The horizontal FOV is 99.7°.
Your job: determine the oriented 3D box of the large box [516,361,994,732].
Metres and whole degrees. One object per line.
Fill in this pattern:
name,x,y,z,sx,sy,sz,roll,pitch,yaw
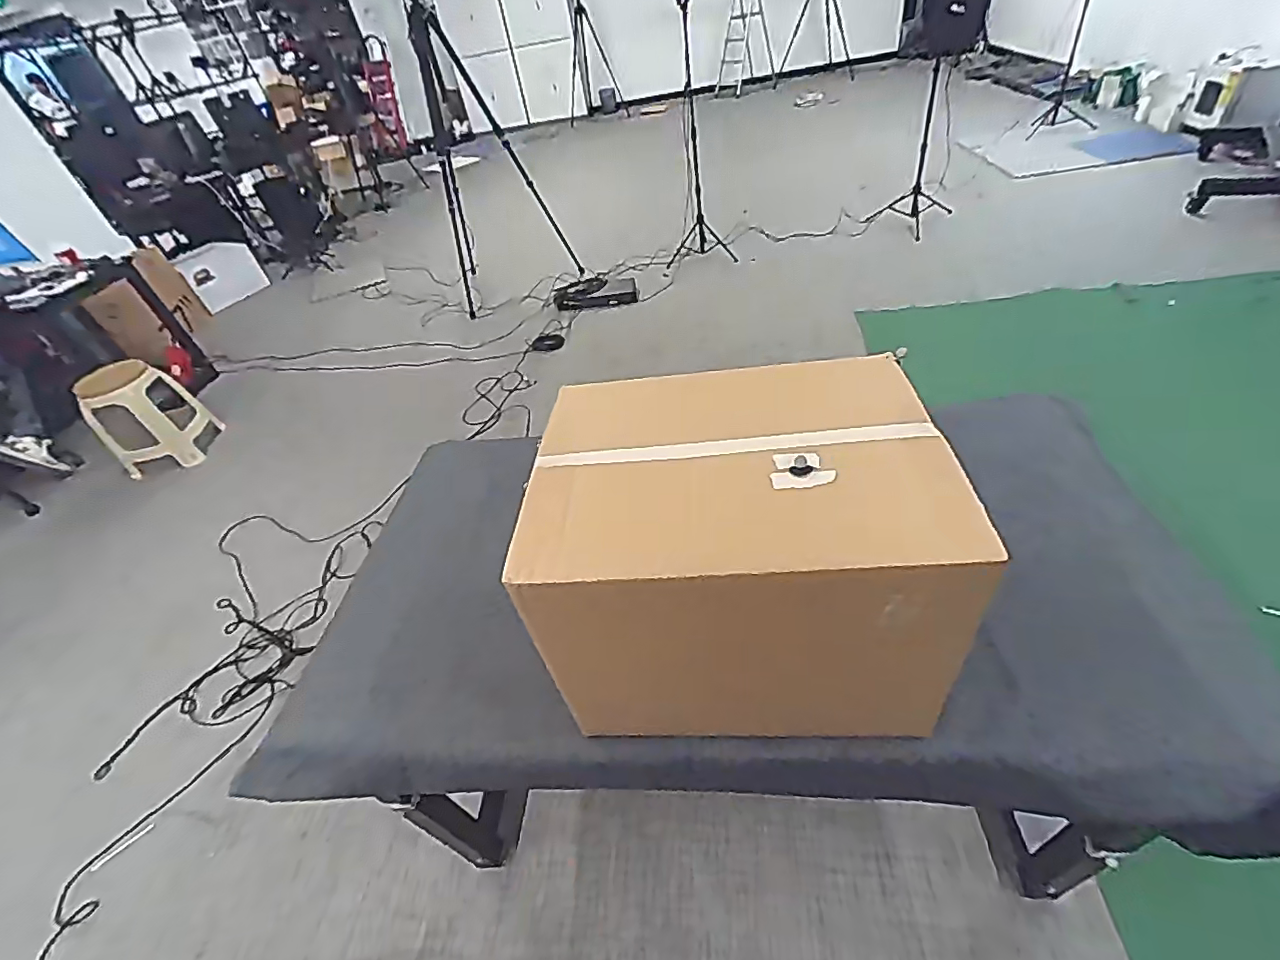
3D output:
large box,0.111,0.084,0.654,0.408,0.320,0.320,-4,42,8
